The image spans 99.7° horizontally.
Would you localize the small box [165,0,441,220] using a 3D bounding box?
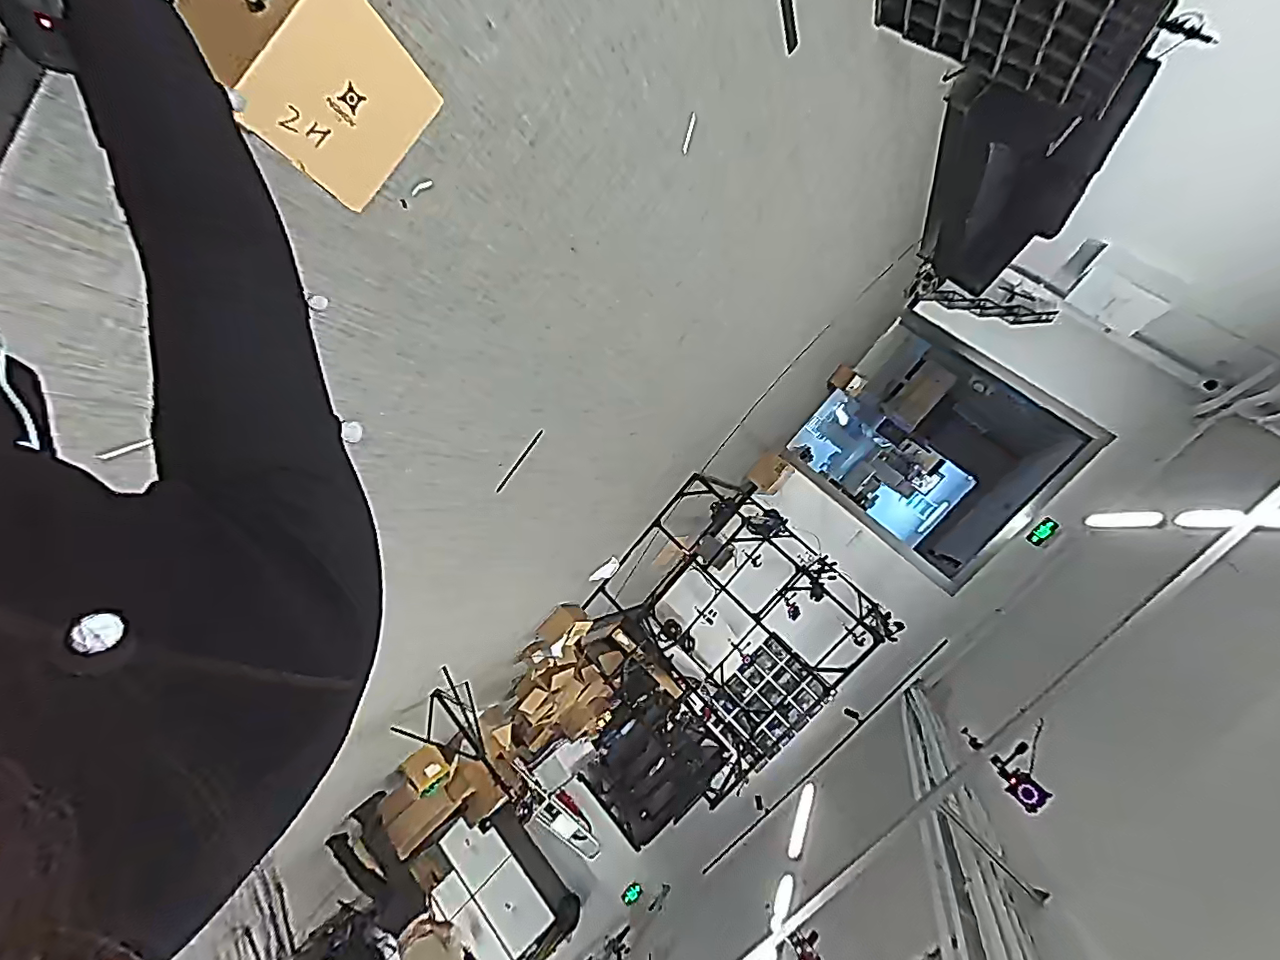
[{"bbox_3d":[-0.371,-0.445,0.604,0.179,0.176,0.168,-49,161,4],"label":"small box"}]
